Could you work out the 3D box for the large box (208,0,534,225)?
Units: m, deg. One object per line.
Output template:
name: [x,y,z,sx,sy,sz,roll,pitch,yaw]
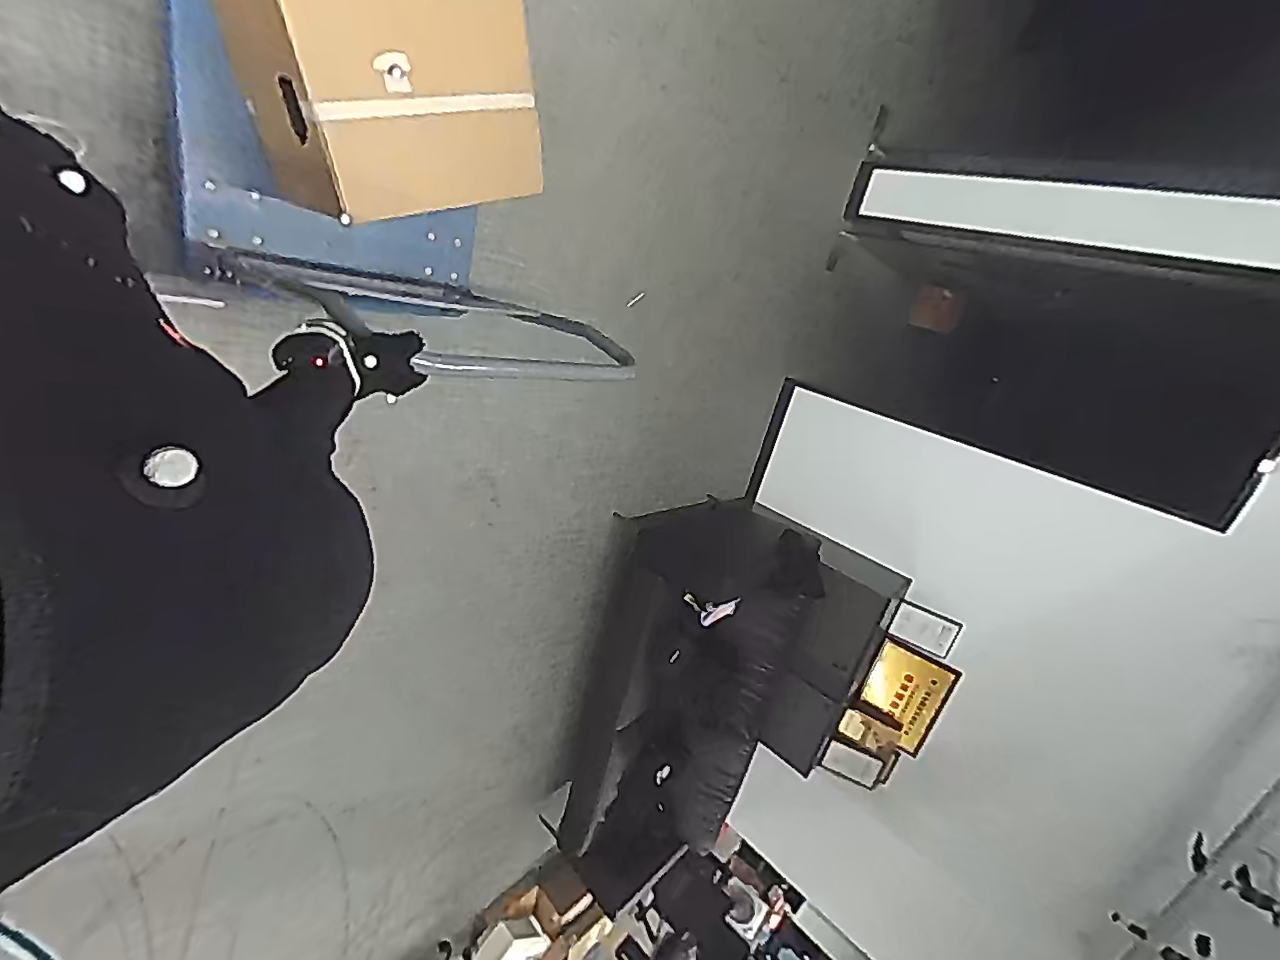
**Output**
large box: [-0.458,-0.690,0.988,0.408,0.320,0.320,-31,136,-34]
